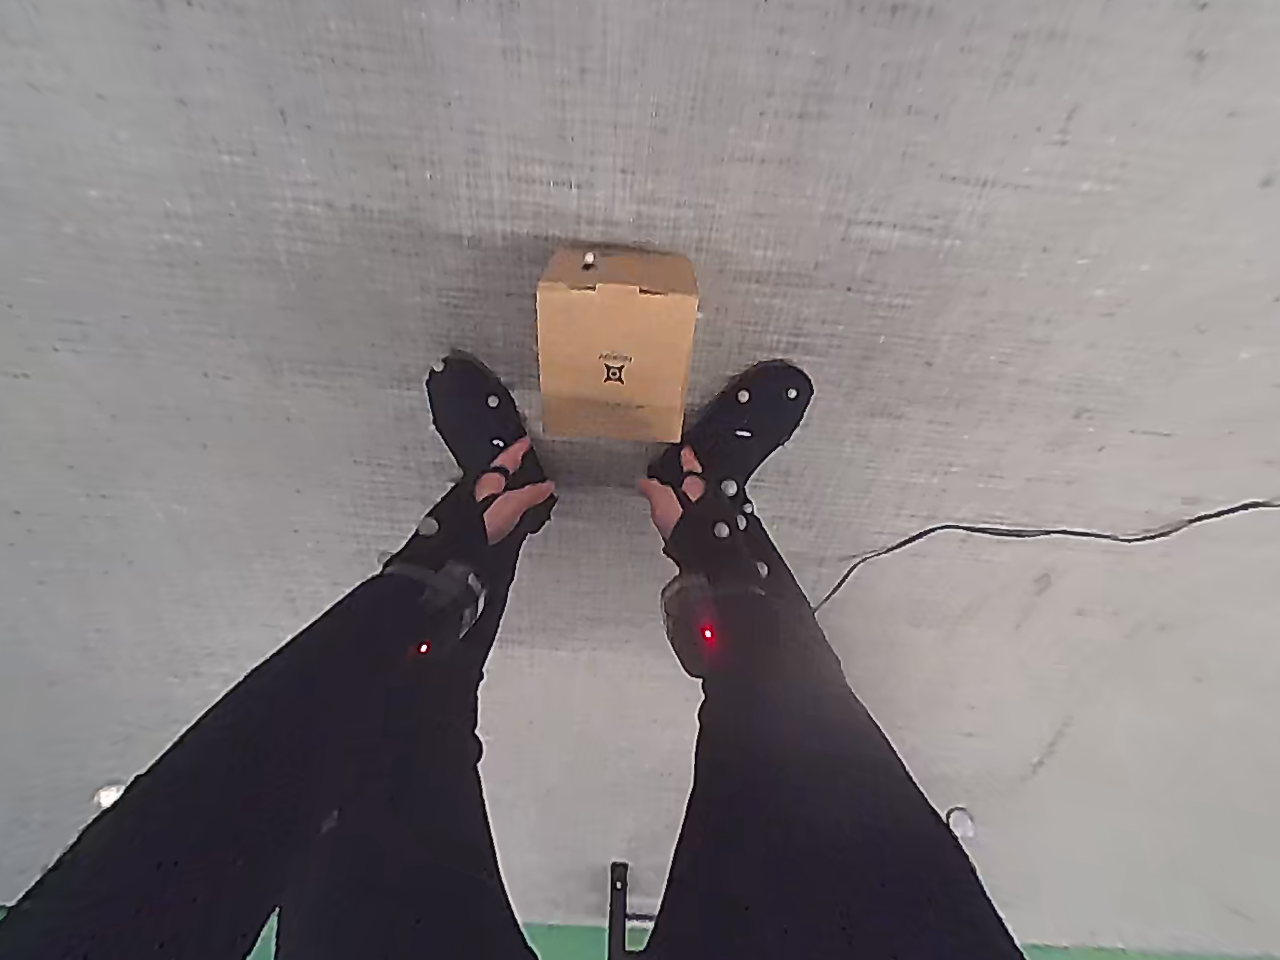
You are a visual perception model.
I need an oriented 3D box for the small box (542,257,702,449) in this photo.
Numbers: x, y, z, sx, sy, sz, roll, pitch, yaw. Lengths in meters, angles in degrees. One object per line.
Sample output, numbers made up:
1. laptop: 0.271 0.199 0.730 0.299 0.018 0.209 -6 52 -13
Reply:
1. small box: -0.022 -0.159 0.655 0.168 0.176 0.179 4 127 0
